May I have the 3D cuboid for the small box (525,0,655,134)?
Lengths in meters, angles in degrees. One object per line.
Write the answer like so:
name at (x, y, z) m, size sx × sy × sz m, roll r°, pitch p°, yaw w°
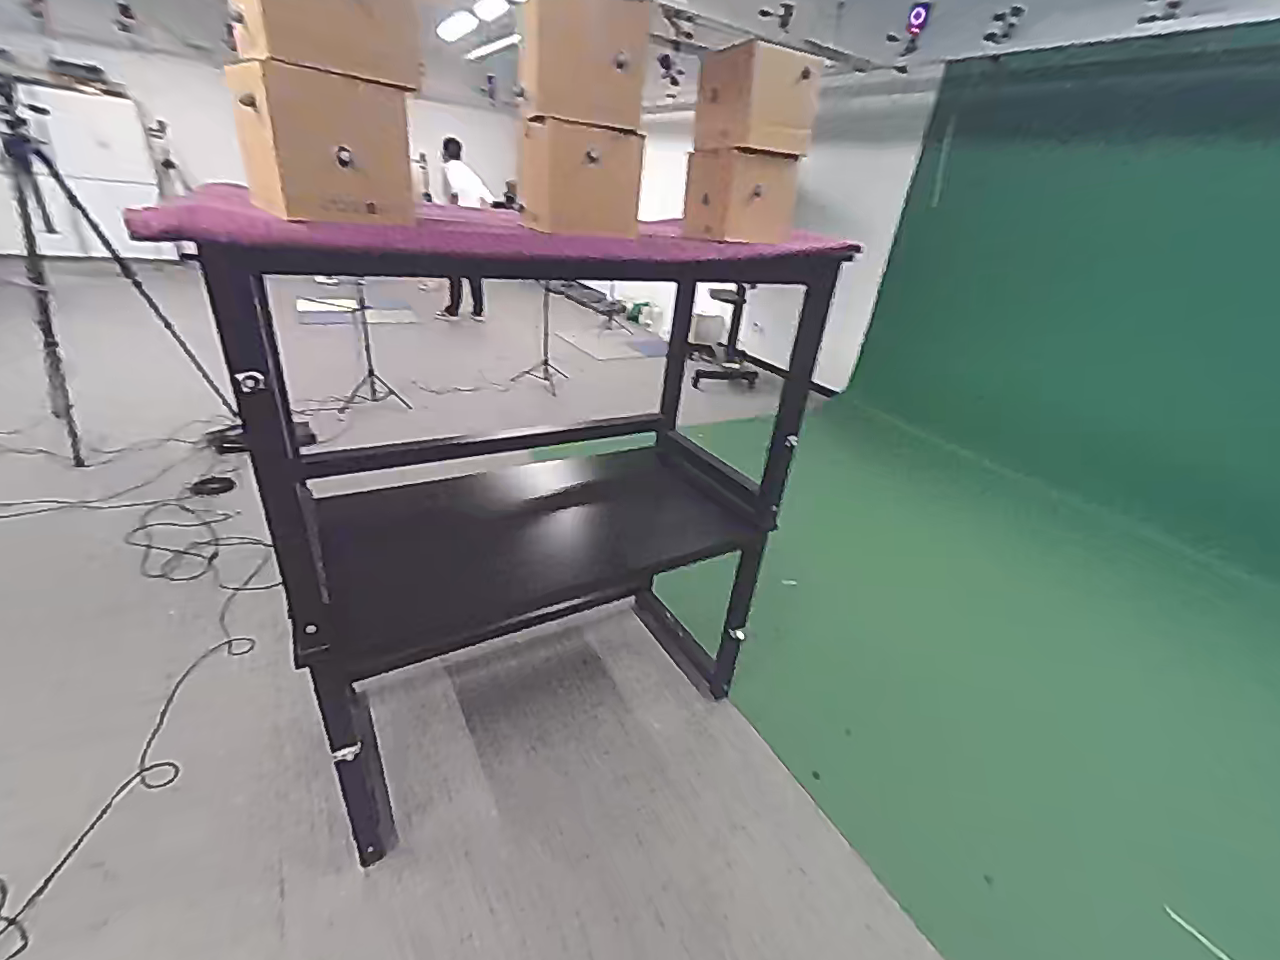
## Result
small box at (-0.092, -0.668, 0.889) m, size 0.179 × 0.176 × 0.168 m, roll -5°, pitch 29°, yaw -20°

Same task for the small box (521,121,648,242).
small box at (-0.105, -0.526, 0.968) m, size 0.179 × 0.176 × 0.168 m, roll -9°, pitch 32°, yaw -29°

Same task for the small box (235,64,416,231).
small box at (-0.423, -0.446, 0.743) m, size 0.168 × 0.176 × 0.179 m, roll -18°, pitch 37°, yaw -40°

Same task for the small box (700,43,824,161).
small box at (0.233, -0.734, 1.078) m, size 0.179 × 0.176 × 0.168 m, roll -11°, pitch 30°, yaw -29°

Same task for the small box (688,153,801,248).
small box at (0.216, -0.594, 1.160) m, size 0.179 × 0.176 × 0.168 m, roll -12°, pitch 31°, yaw -28°
